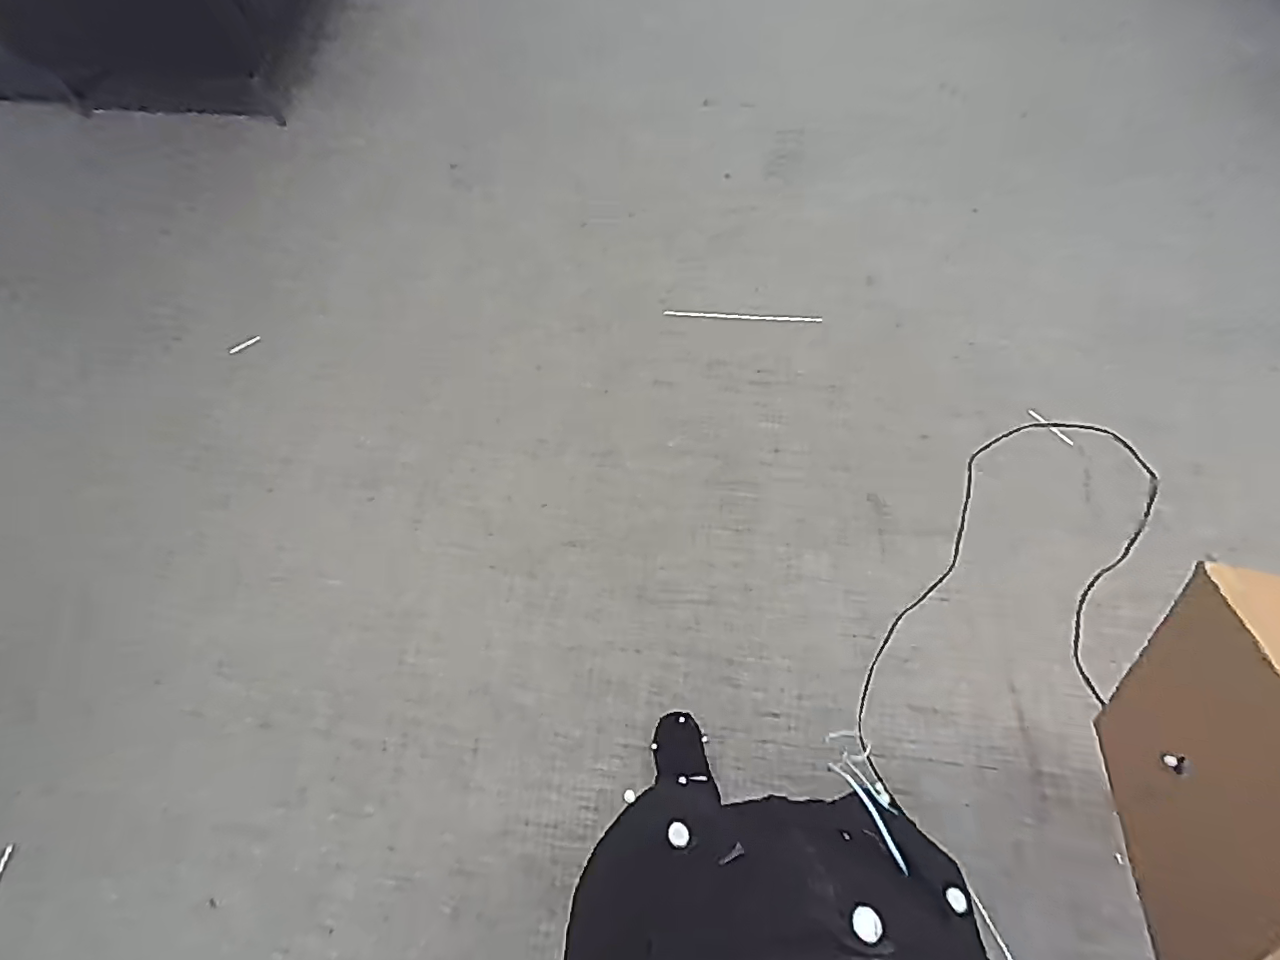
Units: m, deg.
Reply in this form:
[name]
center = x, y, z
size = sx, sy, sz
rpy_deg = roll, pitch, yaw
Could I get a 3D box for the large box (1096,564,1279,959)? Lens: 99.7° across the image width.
[large box]
center = 0.758, 0.357, 0.557
size = 0.320, 0.320, 0.408
rpy_deg = 17, 31, 22
